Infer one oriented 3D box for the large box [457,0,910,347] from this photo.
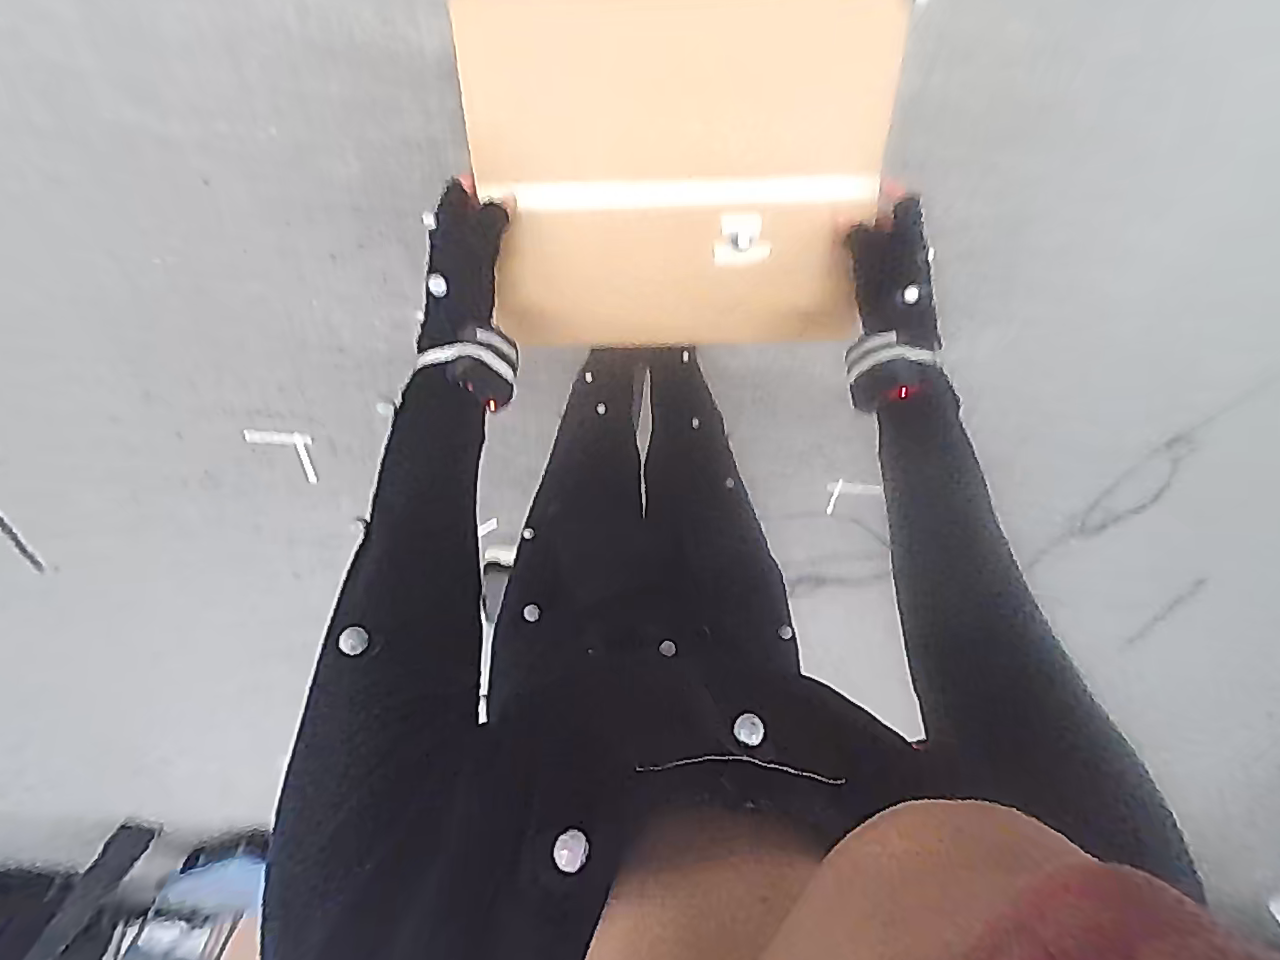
[{"bbox_3d":[0.039,-0.368,0.670,0.408,0.320,0.320,-2,122,0],"label":"large box"}]
